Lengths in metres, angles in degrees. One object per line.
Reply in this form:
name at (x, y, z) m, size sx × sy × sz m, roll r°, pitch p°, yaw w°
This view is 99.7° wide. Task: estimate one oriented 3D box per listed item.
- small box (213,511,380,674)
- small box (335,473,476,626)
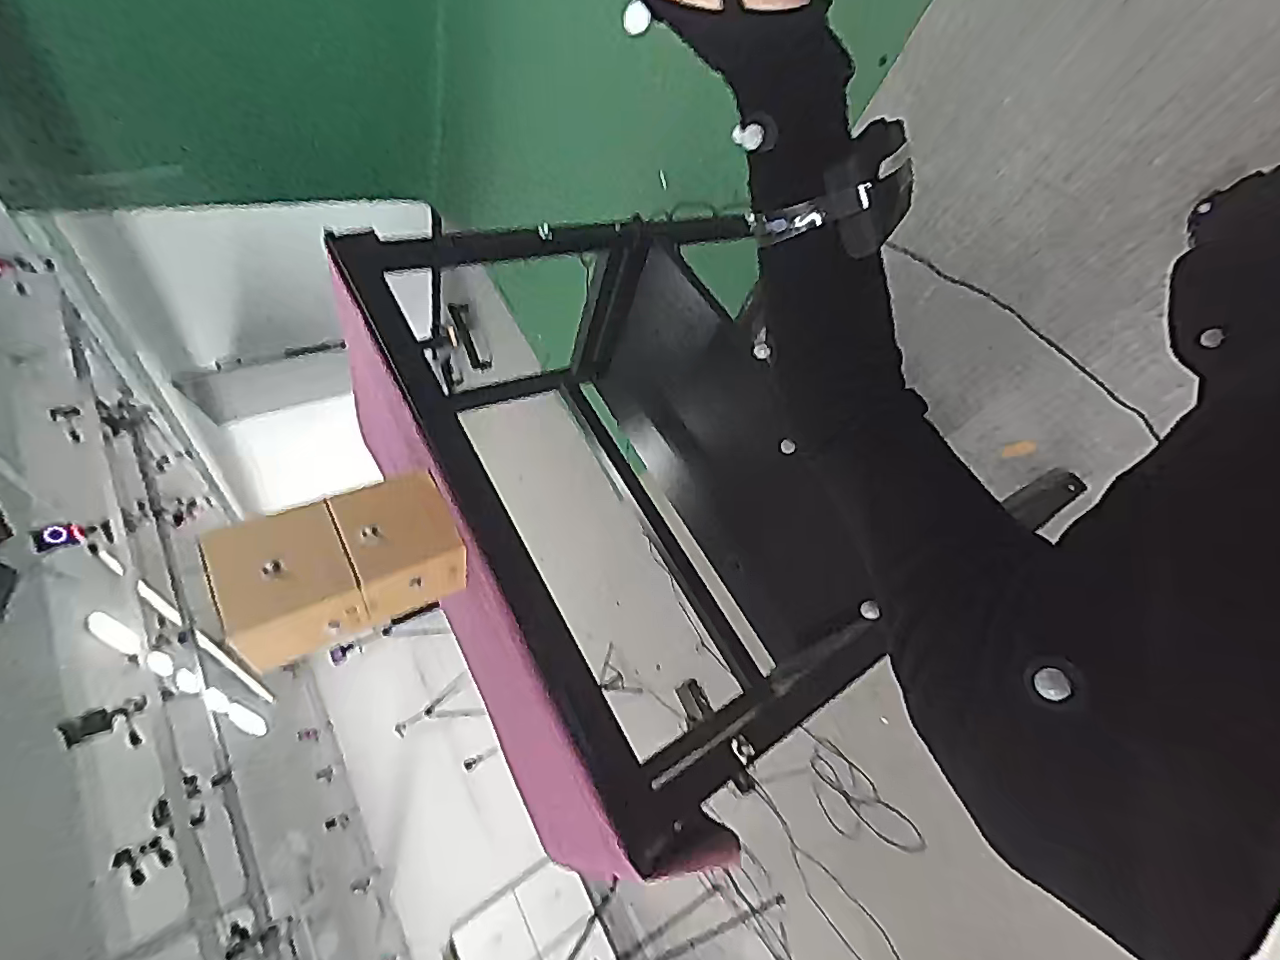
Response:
small box at (-0.526, 0.167, 0.848) m, size 0.179 × 0.176 × 0.168 m, roll 55°, pitch 147°, yaw 21°
small box at (-0.393, 0.116, 0.929) m, size 0.179 × 0.176 × 0.168 m, roll 56°, pitch 148°, yaw 21°
